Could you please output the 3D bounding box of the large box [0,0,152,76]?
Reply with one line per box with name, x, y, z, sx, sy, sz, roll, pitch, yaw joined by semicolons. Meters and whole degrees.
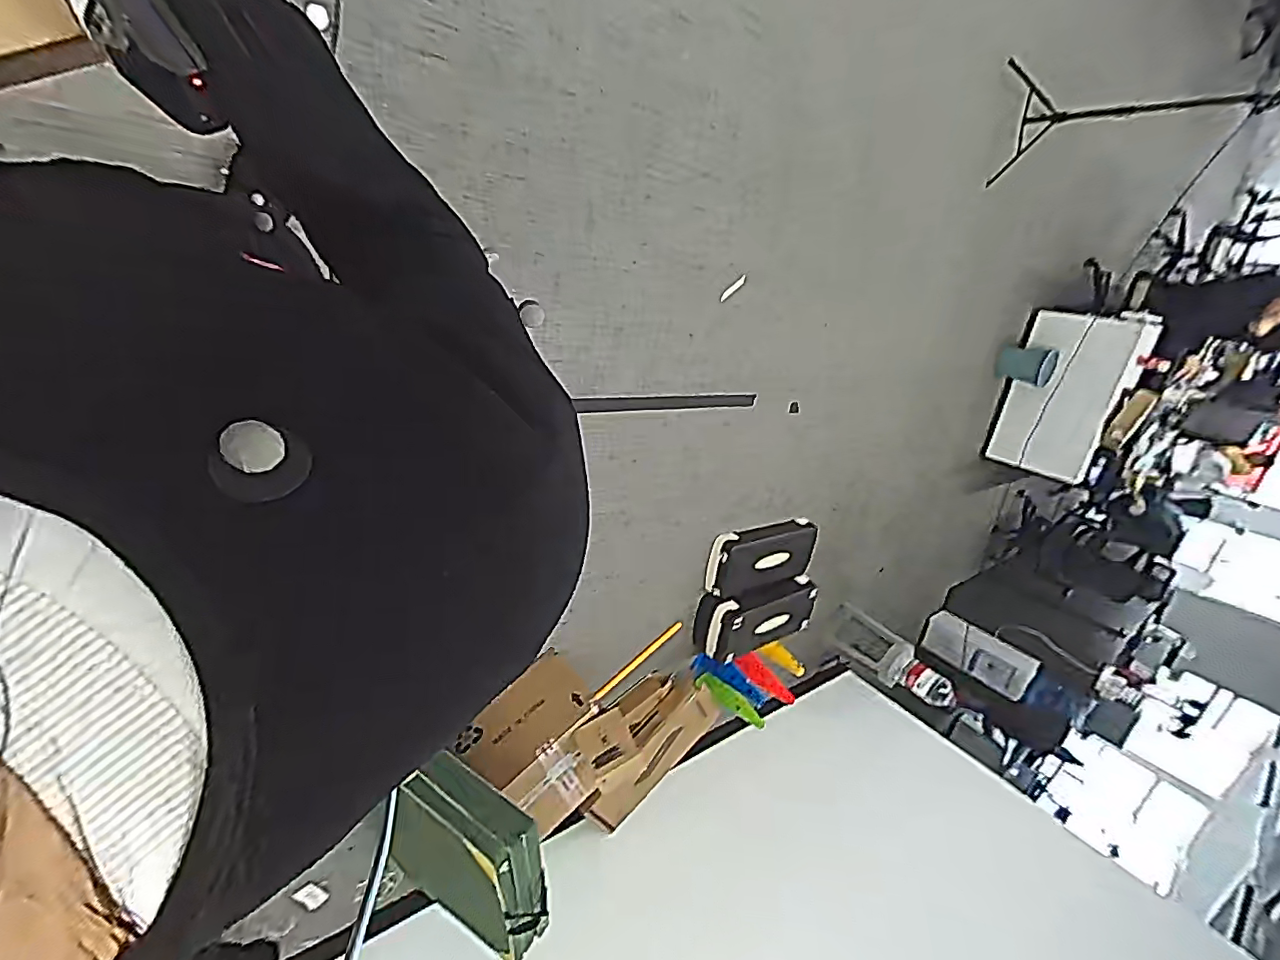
large box;-0.570;-0.361;0.261;0.408;0.320;0.320;-33;137;-17
